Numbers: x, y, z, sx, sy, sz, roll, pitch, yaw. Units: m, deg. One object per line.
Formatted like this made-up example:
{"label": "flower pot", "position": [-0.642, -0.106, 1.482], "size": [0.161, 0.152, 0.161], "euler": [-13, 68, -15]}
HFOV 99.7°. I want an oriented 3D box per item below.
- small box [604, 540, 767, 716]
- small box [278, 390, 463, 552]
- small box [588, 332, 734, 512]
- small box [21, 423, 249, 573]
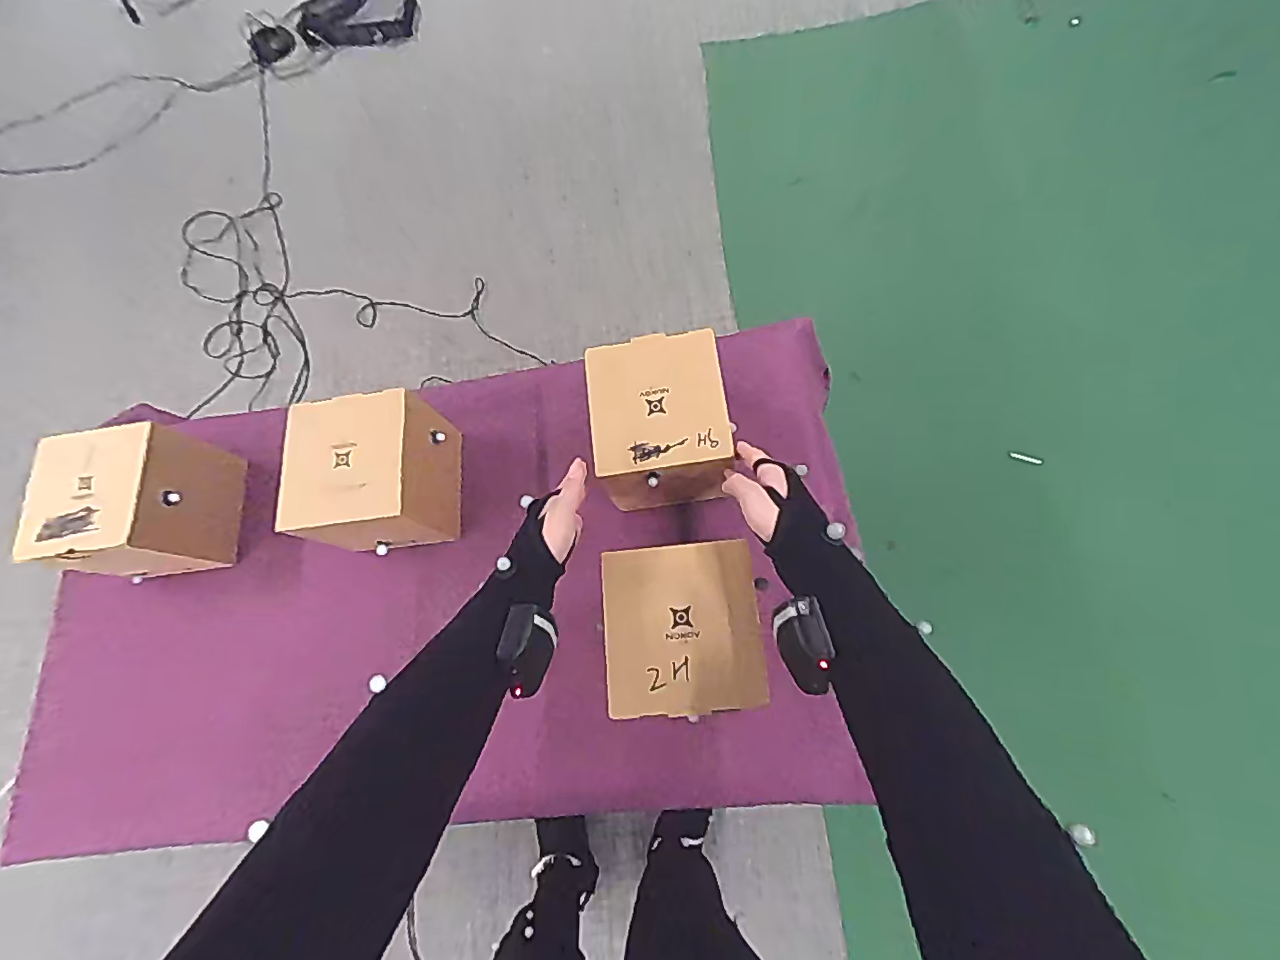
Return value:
{"label": "small box", "position": [0.053, 0.179, 0.645], "size": [0.168, 0.176, 0.179], "euler": [-6, 71, 7]}
{"label": "small box", "position": [-0.364, -0.004, 0.763], "size": [0.168, 0.176, 0.179], "euler": [-7, 72, 6]}
{"label": "small box", "position": [0.031, -0.069, 0.730], "size": [0.168, 0.176, 0.179], "euler": [-8, 71, 6]}
{"label": "small box", "position": [-0.718, 0.037, 0.792], "size": [0.168, 0.176, 0.179], "euler": [-8, 71, 4]}
